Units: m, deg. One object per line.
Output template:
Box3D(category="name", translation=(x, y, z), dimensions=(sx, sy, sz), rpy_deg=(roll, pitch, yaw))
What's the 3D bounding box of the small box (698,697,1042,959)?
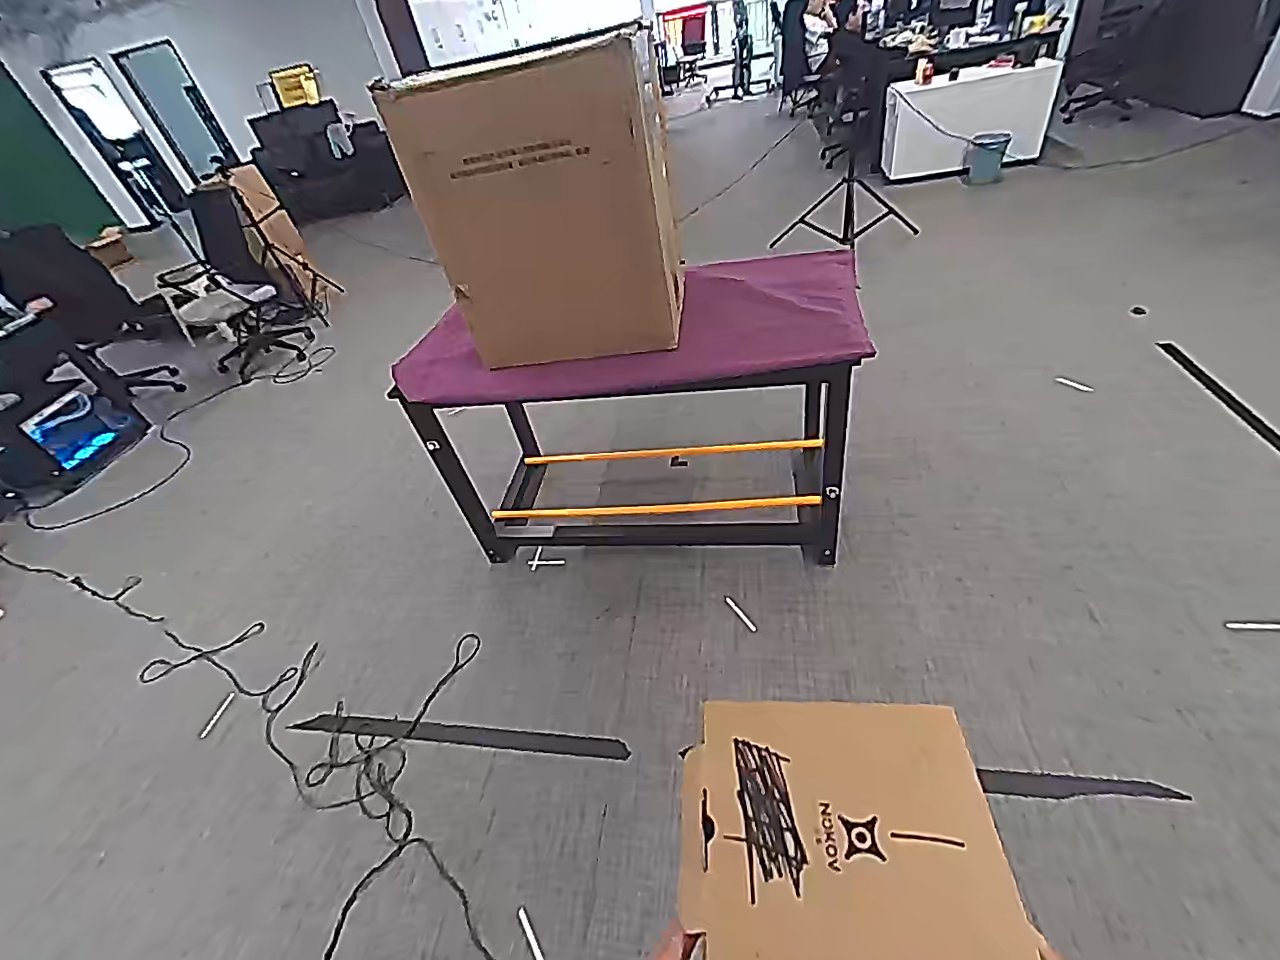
Box3D(category="small box", translation=(0.133, 0.271, 0.378), dimensions=(0.179, 0.176, 0.168), rpy_deg=(-2, 43, 8))
